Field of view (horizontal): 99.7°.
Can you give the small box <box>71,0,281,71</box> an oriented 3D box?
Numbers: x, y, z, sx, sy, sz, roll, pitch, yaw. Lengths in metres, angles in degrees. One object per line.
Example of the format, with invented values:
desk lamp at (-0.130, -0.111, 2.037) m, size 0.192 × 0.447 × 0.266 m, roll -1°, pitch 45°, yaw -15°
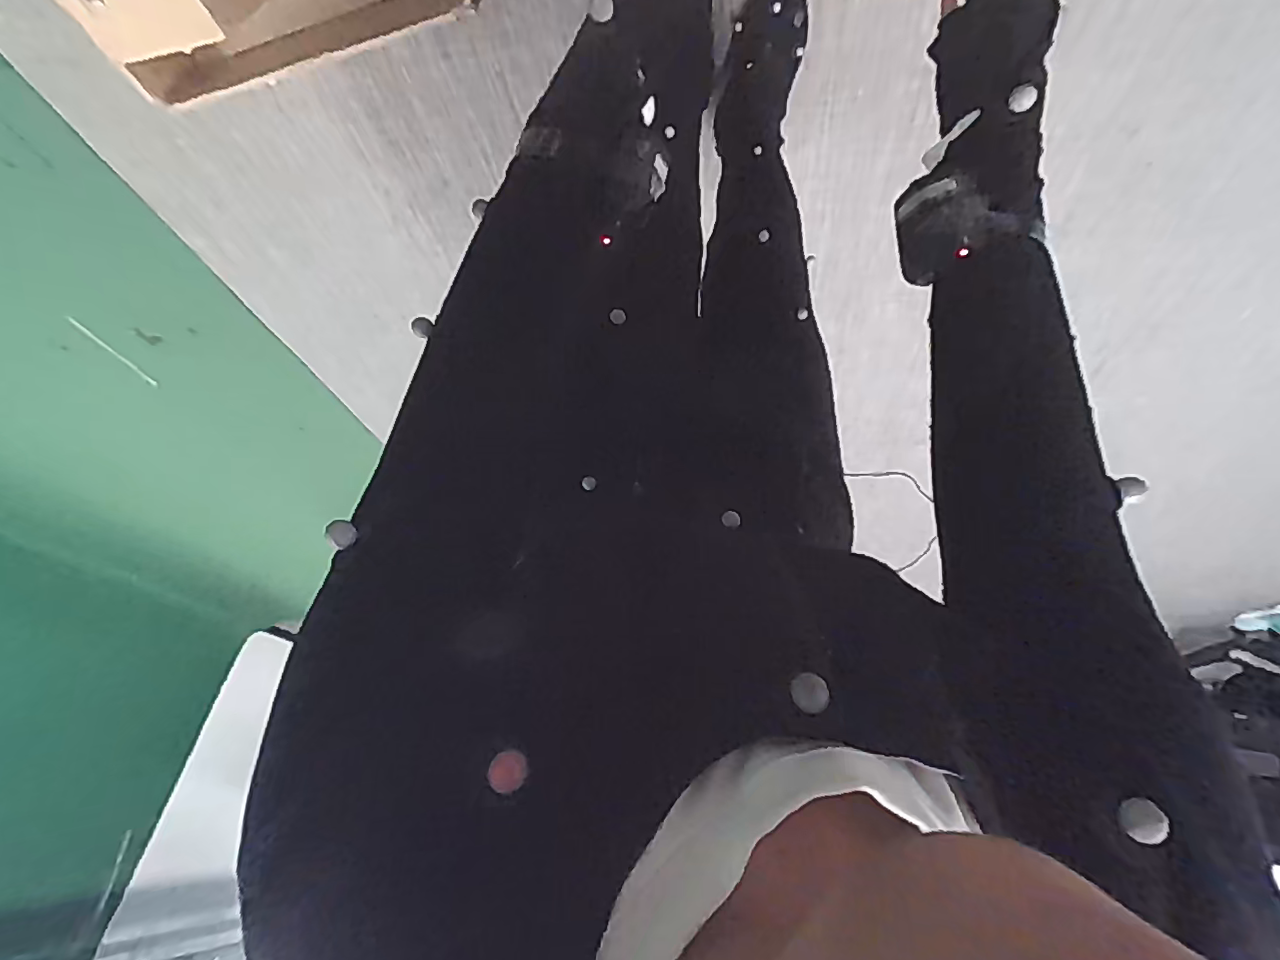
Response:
small box at (-0.565, -0.626, 0.636) m, size 0.179 × 0.176 × 0.168 m, roll -2°, pitch 149°, yaw 13°
